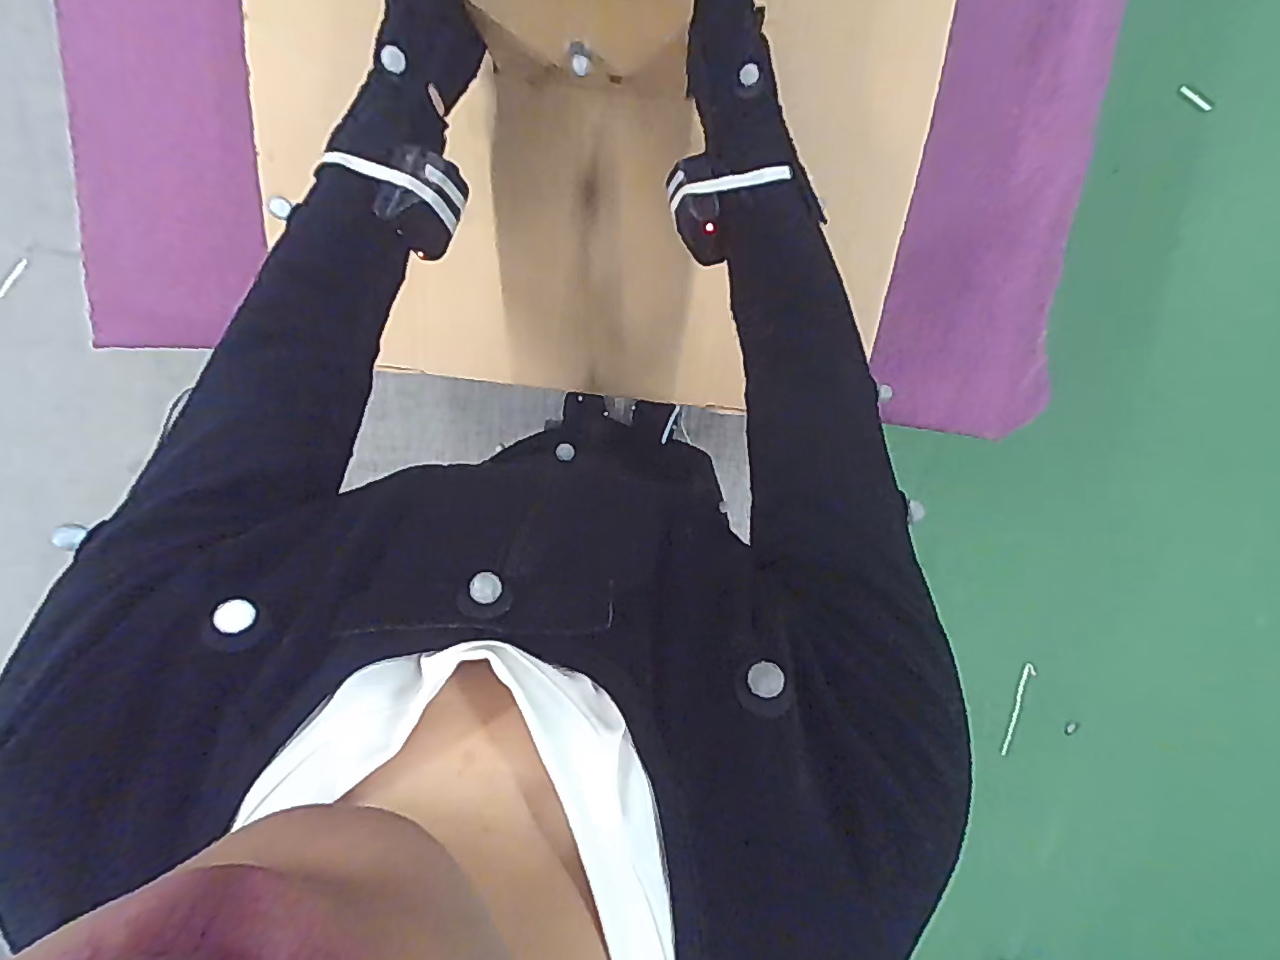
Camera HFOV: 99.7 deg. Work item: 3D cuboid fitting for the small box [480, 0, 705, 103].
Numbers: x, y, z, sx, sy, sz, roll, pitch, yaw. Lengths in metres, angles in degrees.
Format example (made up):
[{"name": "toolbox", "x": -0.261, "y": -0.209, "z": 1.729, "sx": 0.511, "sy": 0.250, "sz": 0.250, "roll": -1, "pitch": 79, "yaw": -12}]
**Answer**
[{"name": "small box", "x": -0.029, "y": -0.409, "z": 0.376, "sx": 0.168, "sy": 0.176, "sz": 0.179, "roll": 9, "pitch": 101, "yaw": 1}]
